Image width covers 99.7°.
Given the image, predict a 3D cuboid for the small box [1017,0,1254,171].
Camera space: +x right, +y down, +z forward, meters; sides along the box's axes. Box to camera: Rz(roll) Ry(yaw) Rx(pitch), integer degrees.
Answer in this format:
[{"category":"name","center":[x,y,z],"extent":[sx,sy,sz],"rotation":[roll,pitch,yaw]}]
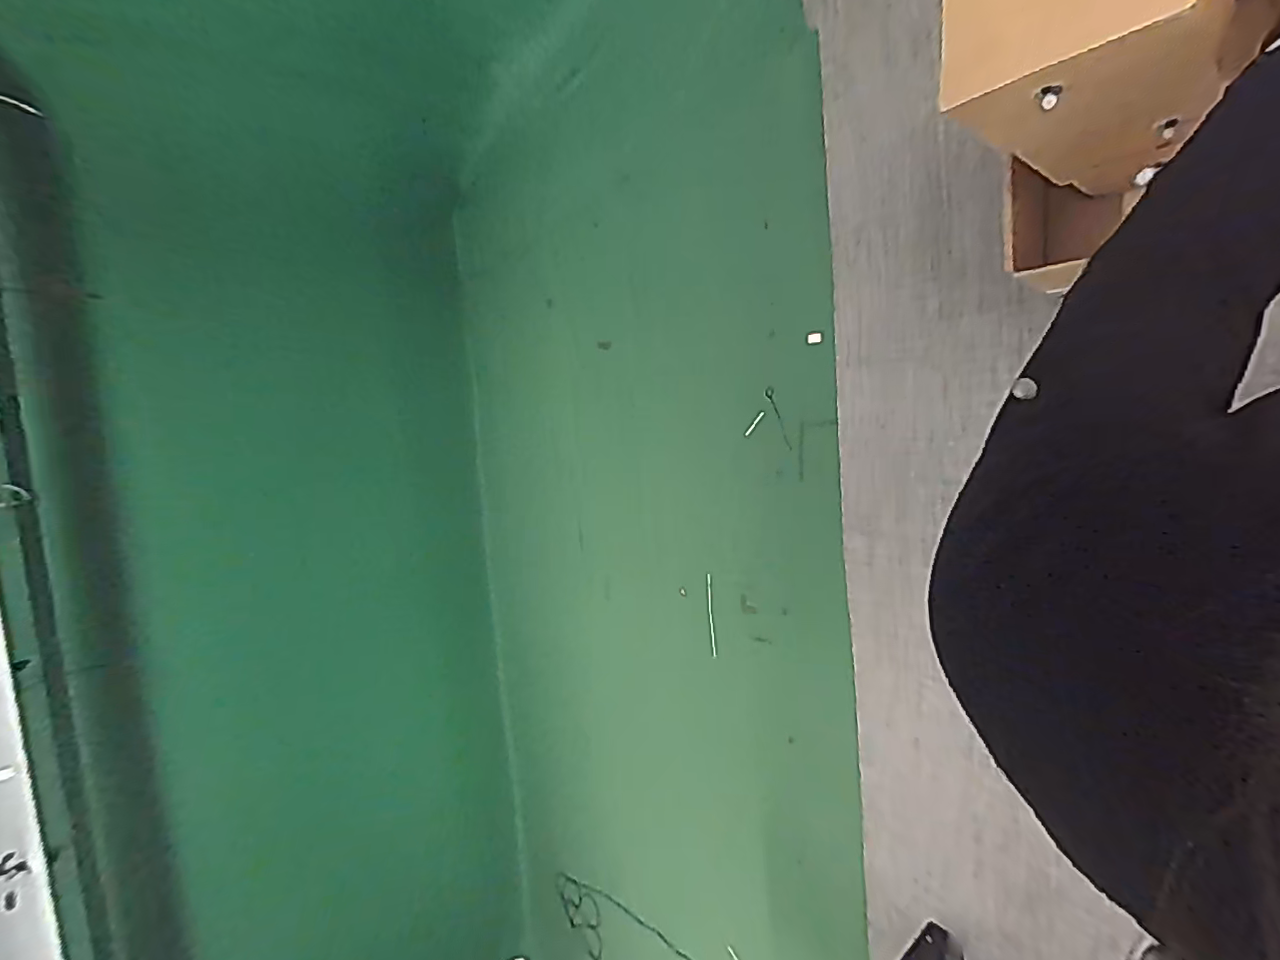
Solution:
[{"category":"small box","center":[0.538,-0.463,0.590],"extent":[0.168,0.176,0.179],"rotation":[5,100,52]}]

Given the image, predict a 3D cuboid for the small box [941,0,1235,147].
[{"category":"small box","center":[0.407,-0.436,0.494],"extent":[0.179,0.176,0.168],"rotation":[10,105,51]}]
